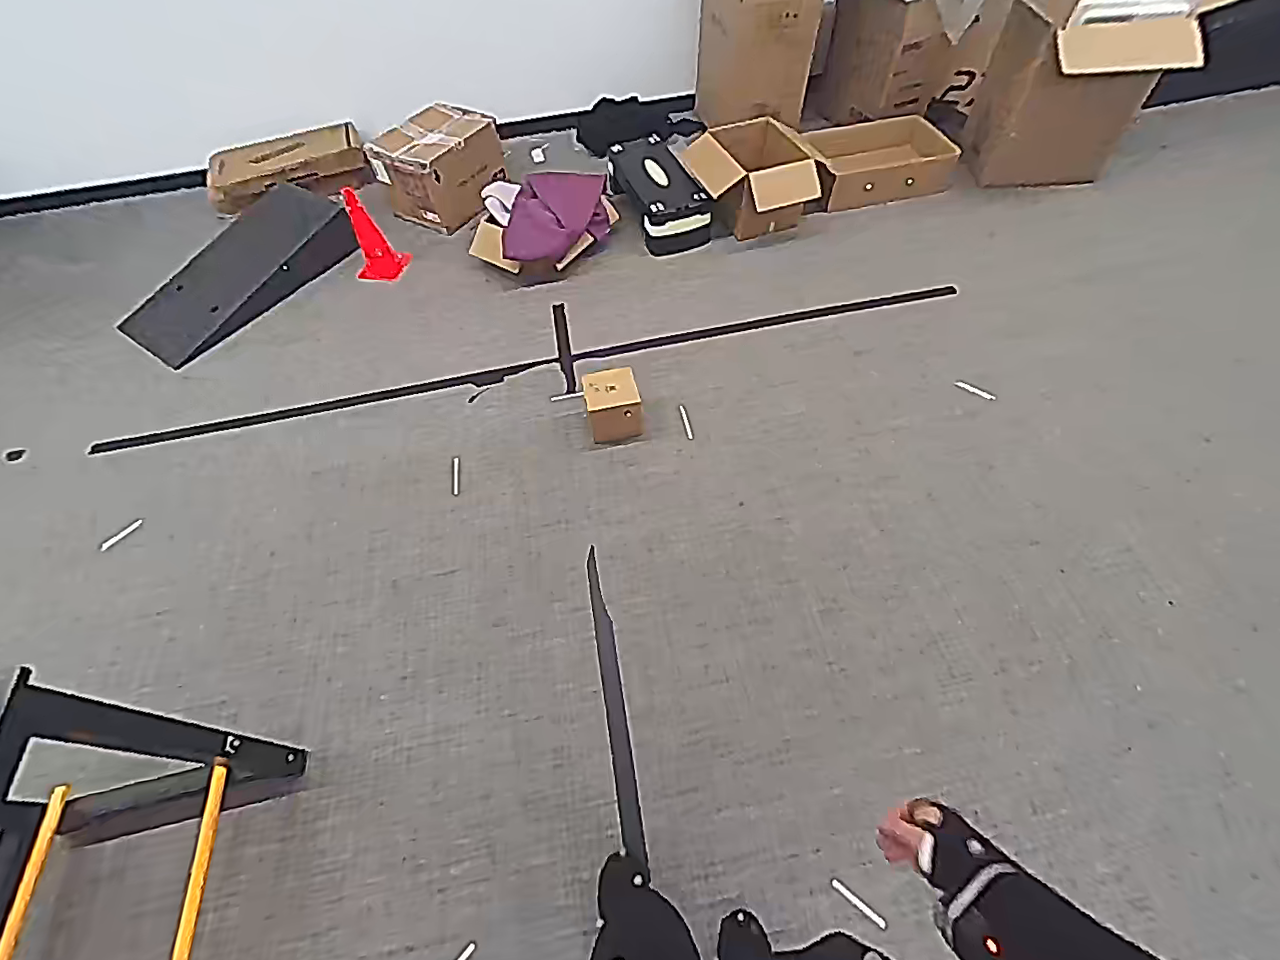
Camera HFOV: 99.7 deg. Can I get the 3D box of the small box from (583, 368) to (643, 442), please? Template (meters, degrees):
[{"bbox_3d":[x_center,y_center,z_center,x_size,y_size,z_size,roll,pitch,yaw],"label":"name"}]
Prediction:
[{"bbox_3d":[-0.090,-0.251,1.838,0.179,0.176,0.168,-11,56,-4],"label":"small box"}]
